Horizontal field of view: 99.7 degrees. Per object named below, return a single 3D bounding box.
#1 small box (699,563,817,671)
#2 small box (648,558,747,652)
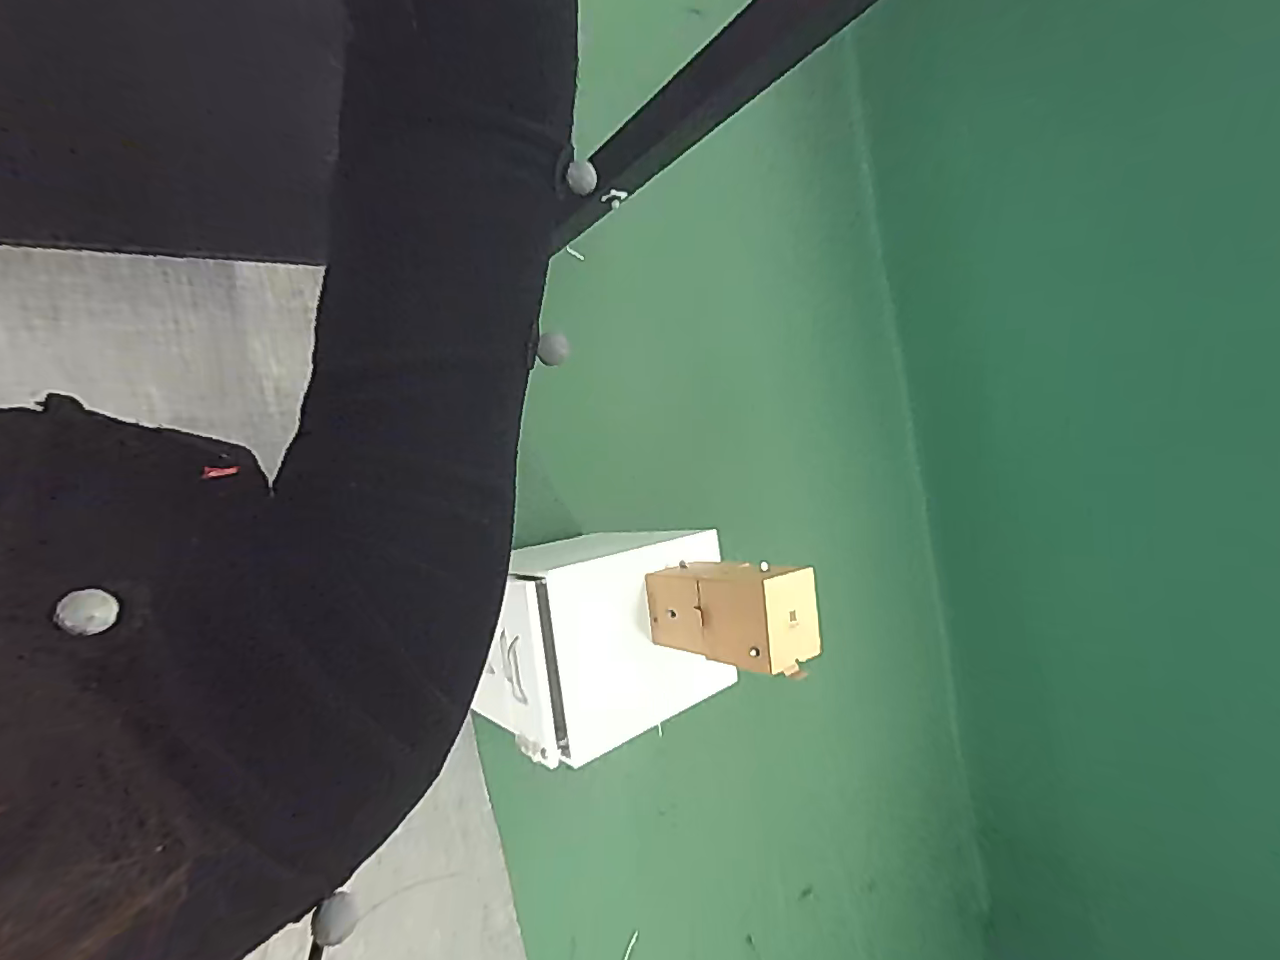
[{"bbox_3d":[0.234,0.265,1.093,0.168,0.176,0.179,-4,89,-41],"label":"small box"},{"bbox_3d":[0.131,0.273,1.218,0.179,0.176,0.168,-7,91,-40],"label":"small box"}]
